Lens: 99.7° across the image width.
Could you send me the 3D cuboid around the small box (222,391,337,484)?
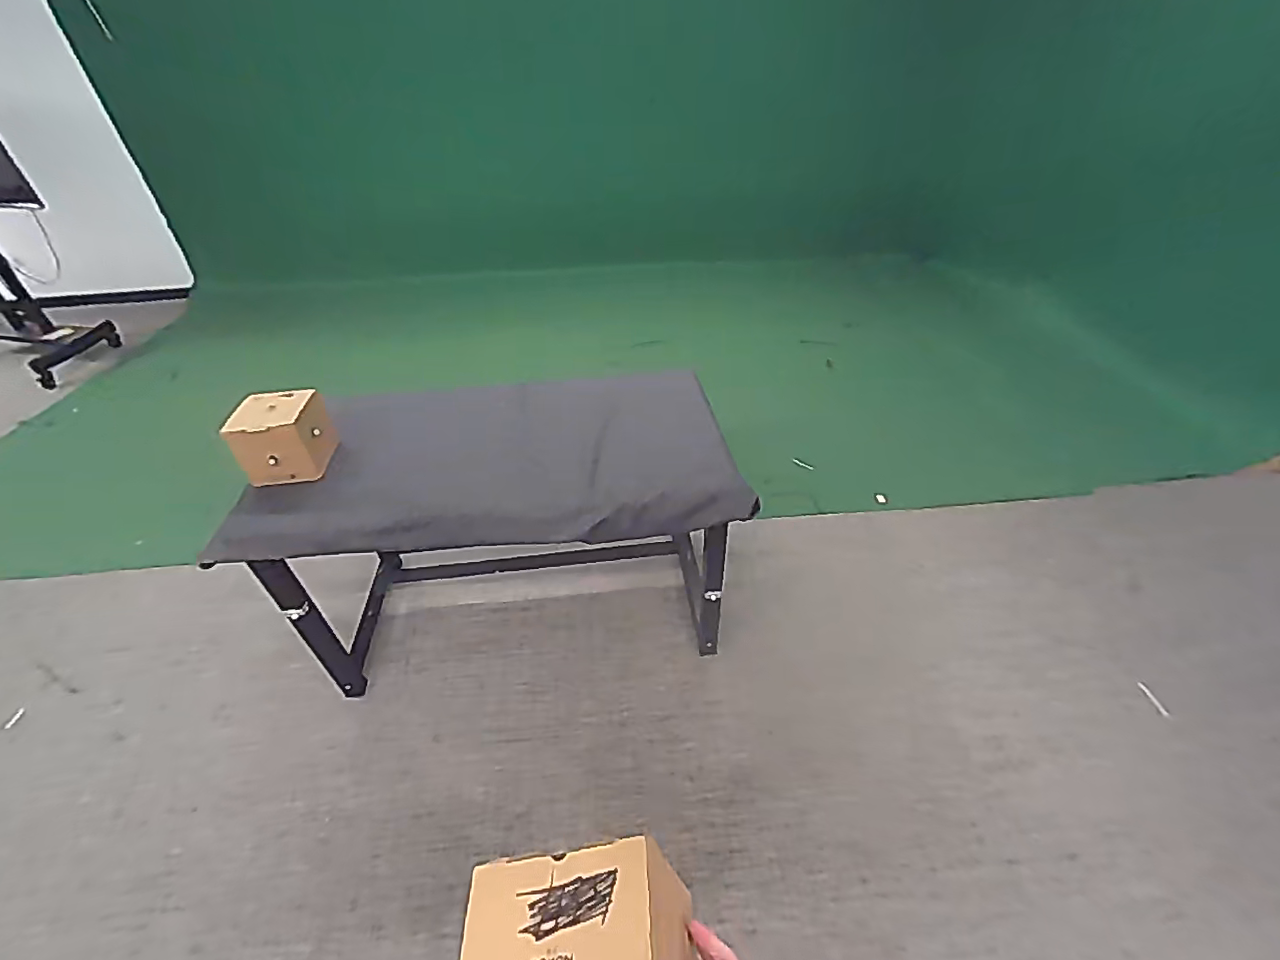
[{"bbox_3d":[-0.900,-0.103,1.372,0.168,0.176,0.179,-6,40,-7],"label":"small box"}]
